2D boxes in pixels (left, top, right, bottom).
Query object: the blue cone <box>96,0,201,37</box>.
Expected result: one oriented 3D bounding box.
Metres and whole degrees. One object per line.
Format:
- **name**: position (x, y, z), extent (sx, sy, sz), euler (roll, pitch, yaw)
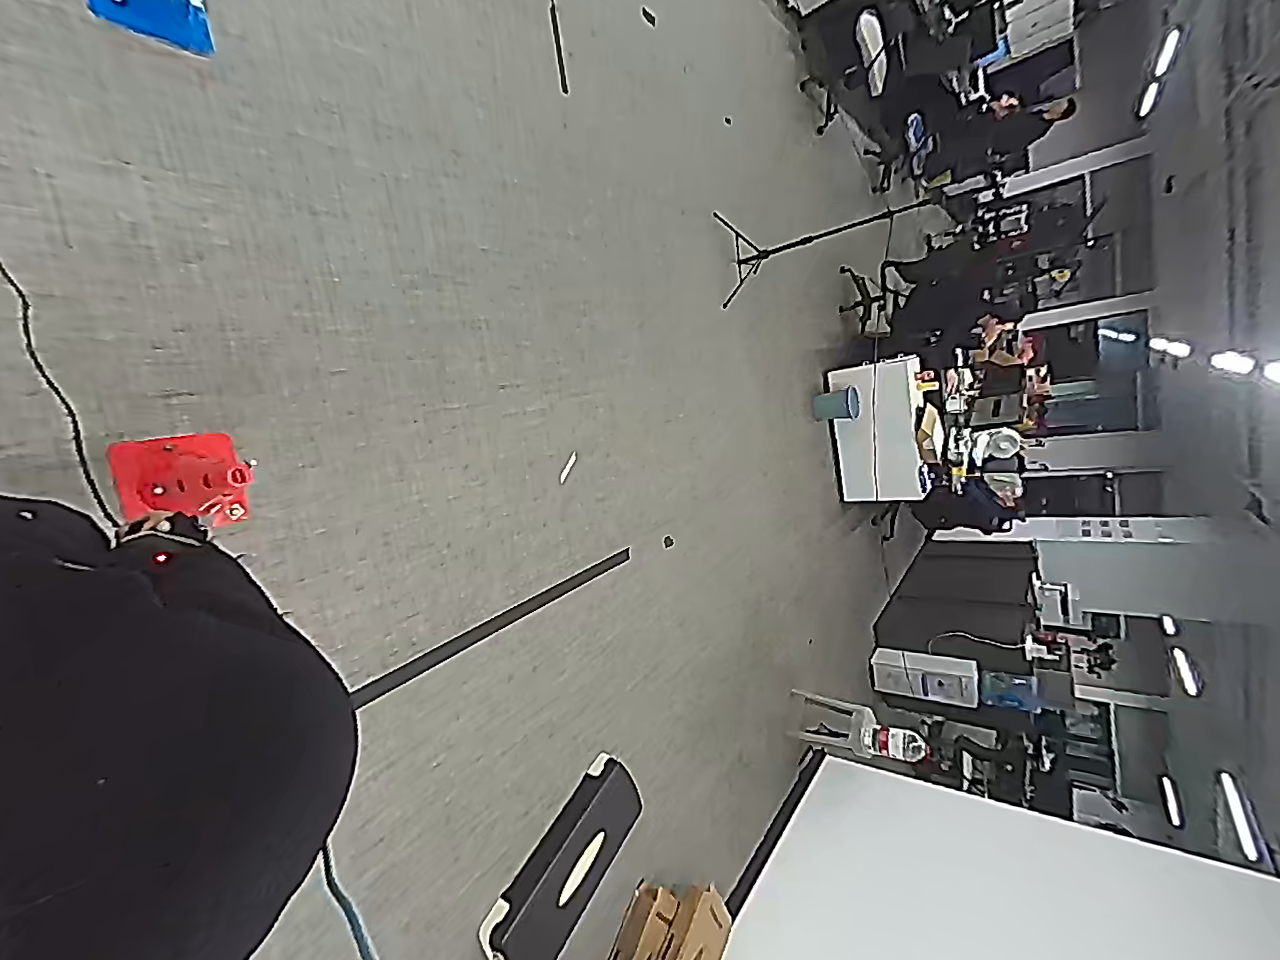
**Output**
- **blue cone**: position (-0.890, -1.032, 0.994), extent (0.193, 0.380, 0.192), euler (-15, 98, -51)
